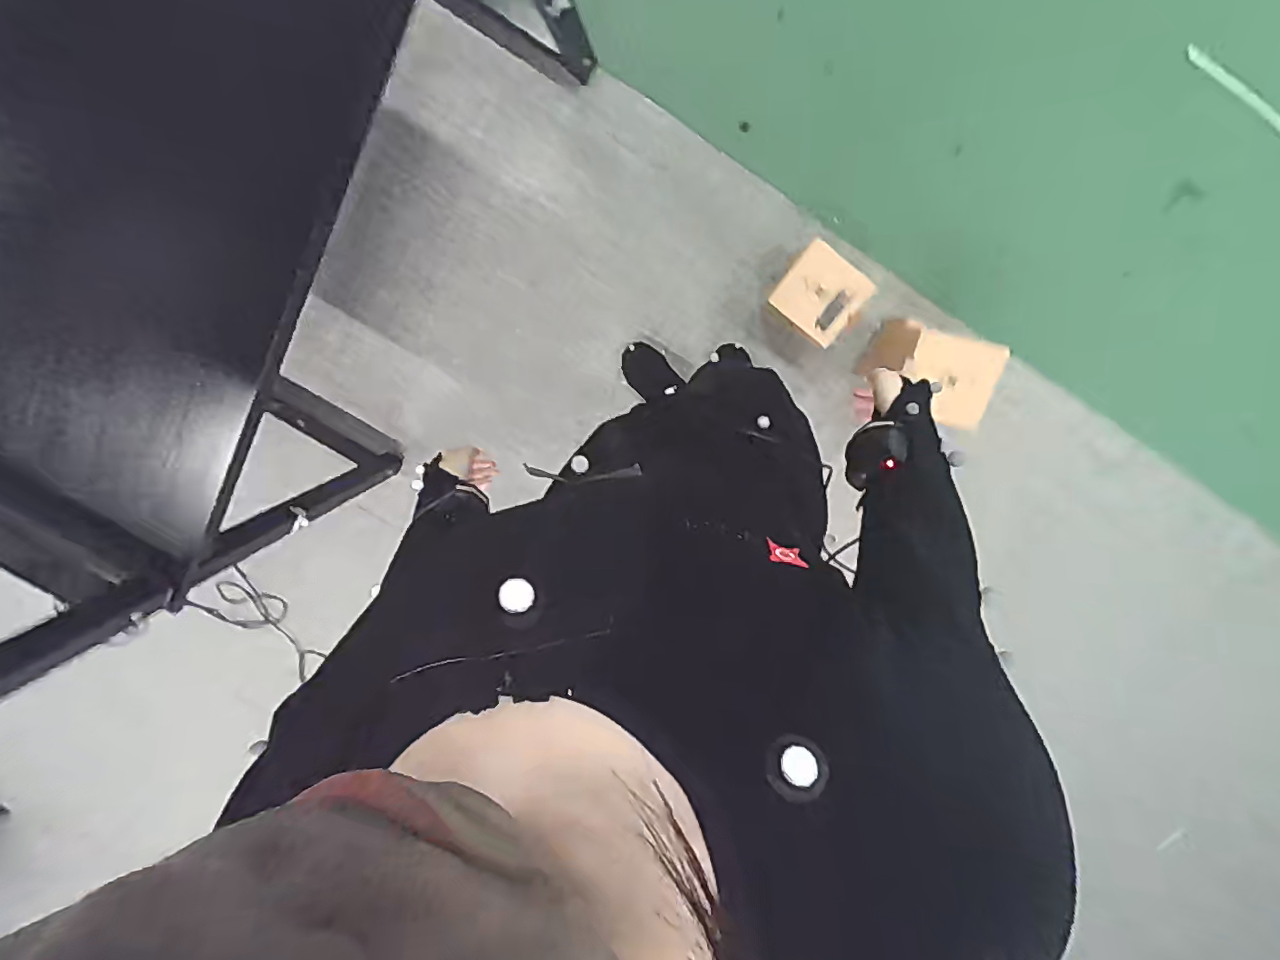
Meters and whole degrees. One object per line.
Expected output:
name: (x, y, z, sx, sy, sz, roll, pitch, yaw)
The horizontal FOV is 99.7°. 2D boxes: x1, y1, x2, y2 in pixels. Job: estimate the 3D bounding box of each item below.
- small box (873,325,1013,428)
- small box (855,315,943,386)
small box: (0.614, -0.221, 1.125, 0.179, 0.176, 0.168, 13, 110, 1)
small box: (0.641, -0.275, 1.276, 0.179, 0.176, 0.168, 25, 109, -3)
